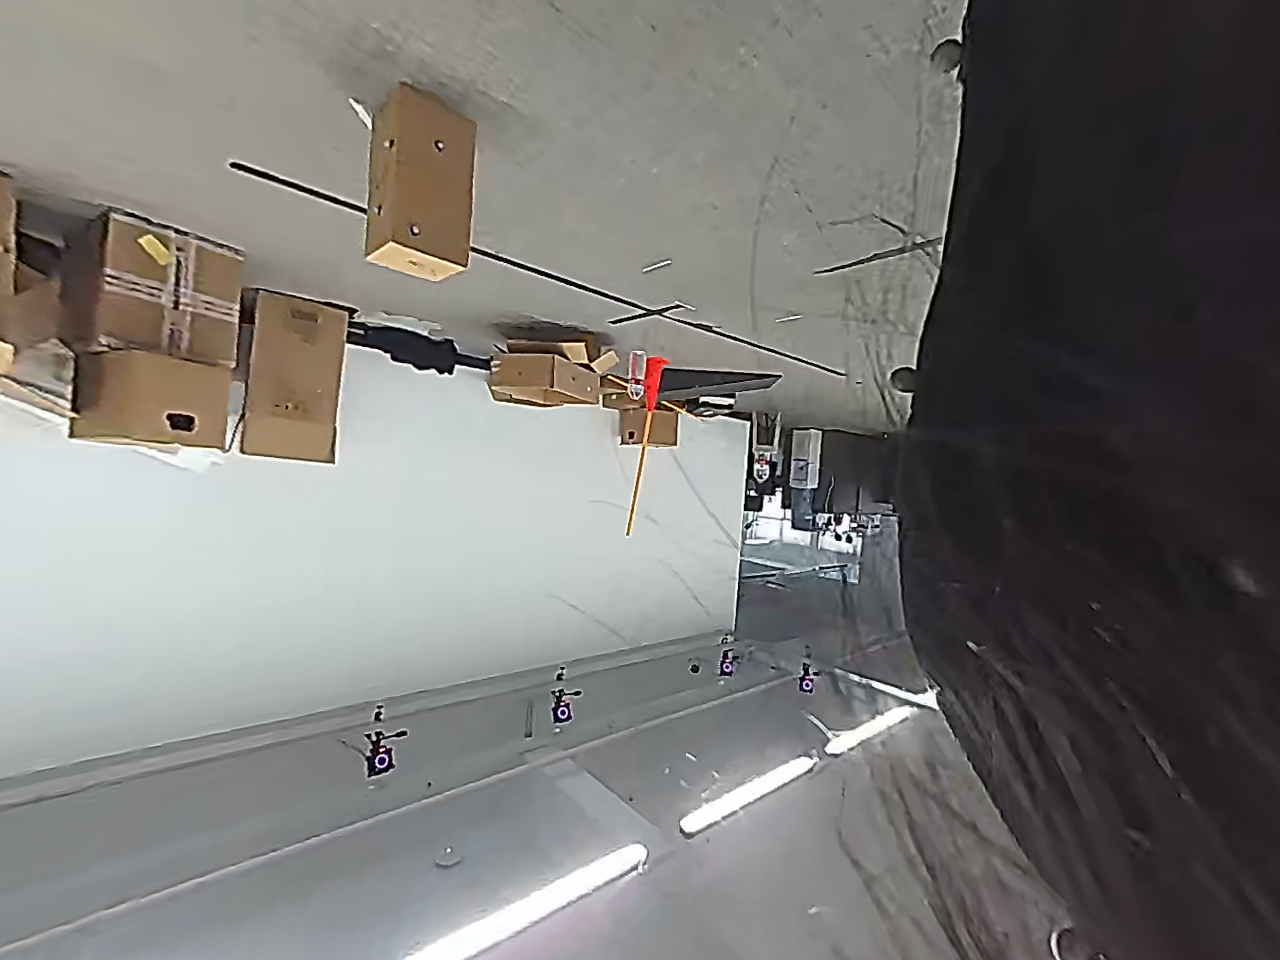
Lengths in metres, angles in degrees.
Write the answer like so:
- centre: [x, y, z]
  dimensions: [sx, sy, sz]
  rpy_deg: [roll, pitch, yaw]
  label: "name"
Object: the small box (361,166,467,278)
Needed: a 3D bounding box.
- centre: [-0.512, -0.583, 1.228]
  dimensions: [0.179, 0.176, 0.168]
  rpy_deg: [2, -177, -45]
  label: "small box"
